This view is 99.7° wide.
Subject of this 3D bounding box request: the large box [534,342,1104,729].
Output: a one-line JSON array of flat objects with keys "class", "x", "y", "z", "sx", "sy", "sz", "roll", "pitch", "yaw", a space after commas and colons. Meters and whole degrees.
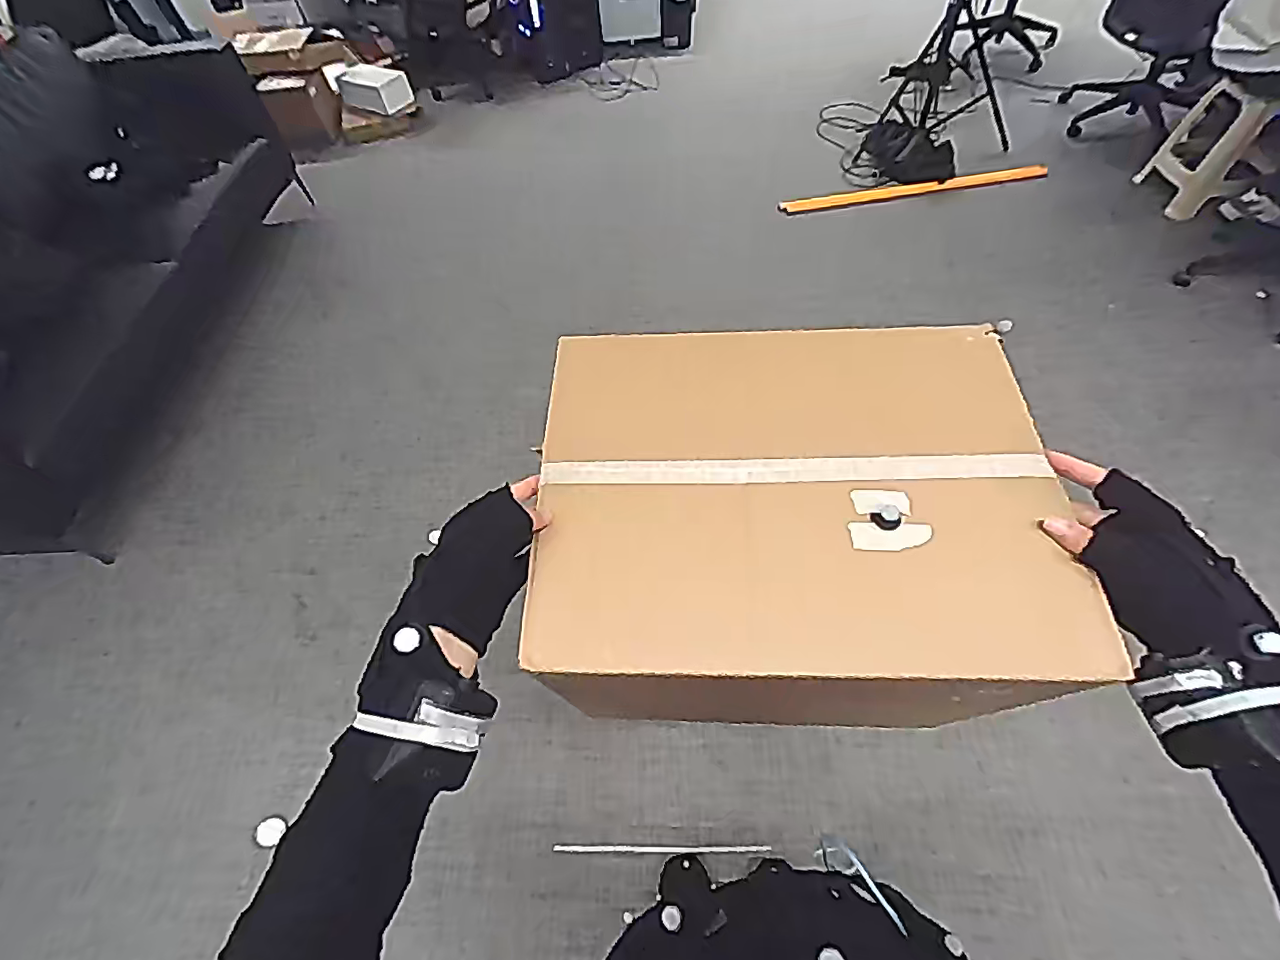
[{"class": "large box", "x": 0.129, "y": 0.081, "z": 0.580, "sx": 0.408, "sy": 0.320, "sz": 0.320, "roll": -1, "pitch": 60, "yaw": 4}]
